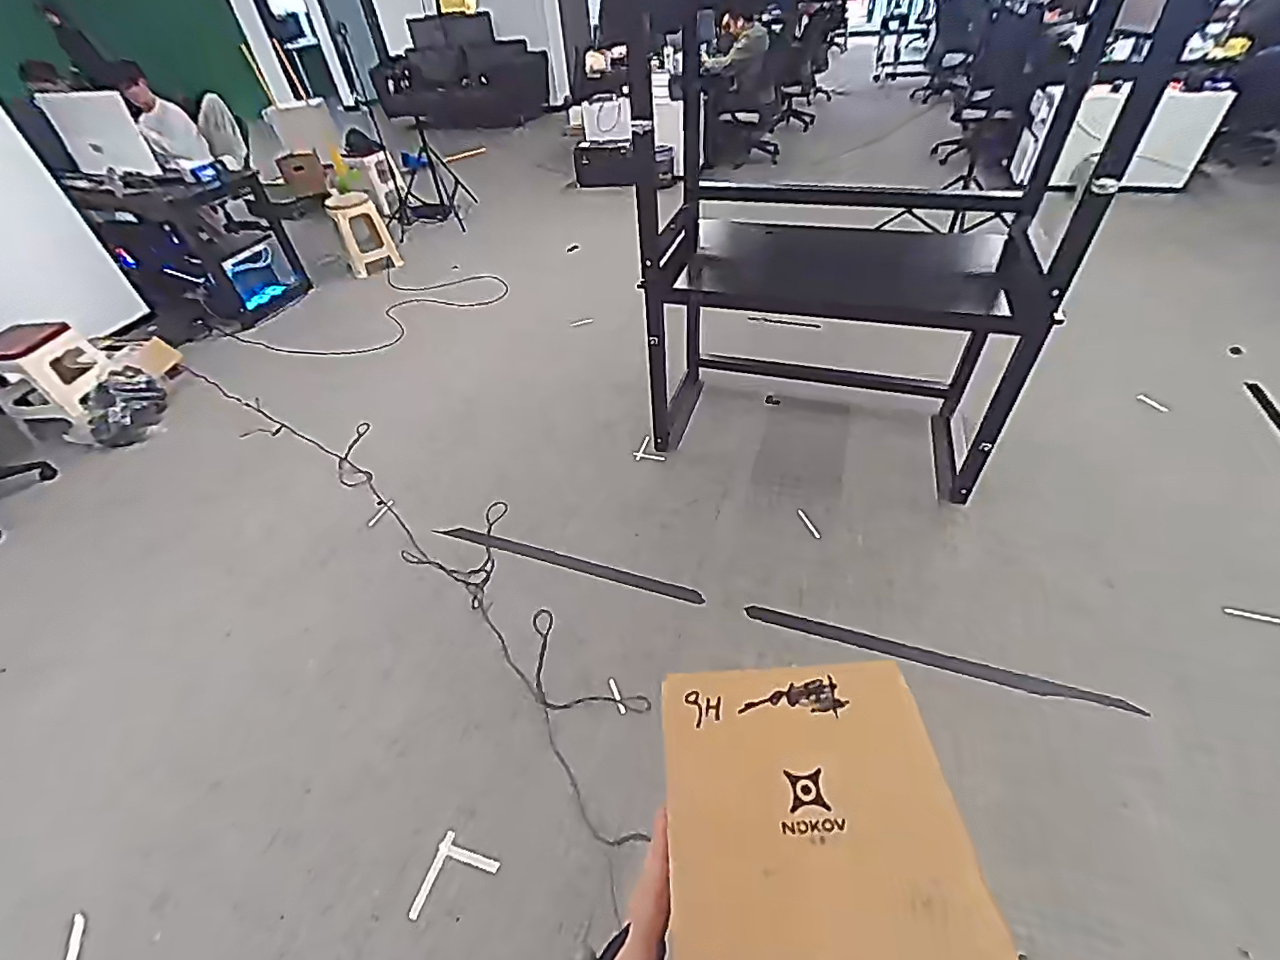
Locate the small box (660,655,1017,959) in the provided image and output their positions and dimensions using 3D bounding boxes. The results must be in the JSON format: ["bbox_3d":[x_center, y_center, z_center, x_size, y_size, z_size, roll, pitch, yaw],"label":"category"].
[{"bbox_3d":[0.102,0.241,0.361,0.168,0.176,0.179,-4,43,2],"label":"small box"}]
